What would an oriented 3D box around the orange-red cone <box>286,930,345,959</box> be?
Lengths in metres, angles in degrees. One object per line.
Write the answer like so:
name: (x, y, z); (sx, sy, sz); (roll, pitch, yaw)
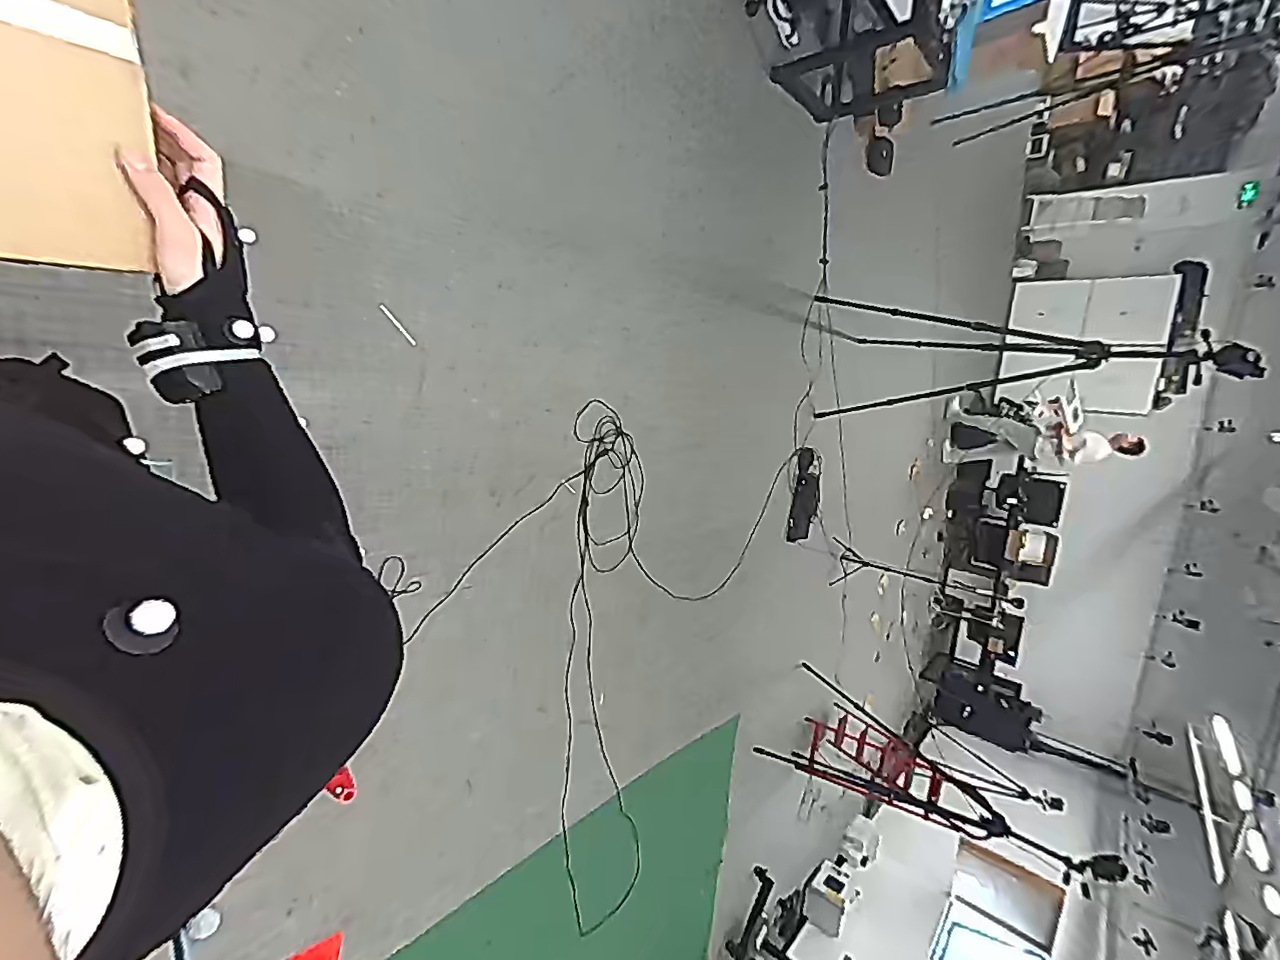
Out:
orange-red cone: (-0.931, 1.606, 1.624); (0.199, 0.360, 0.198); (5, 97, -51)
